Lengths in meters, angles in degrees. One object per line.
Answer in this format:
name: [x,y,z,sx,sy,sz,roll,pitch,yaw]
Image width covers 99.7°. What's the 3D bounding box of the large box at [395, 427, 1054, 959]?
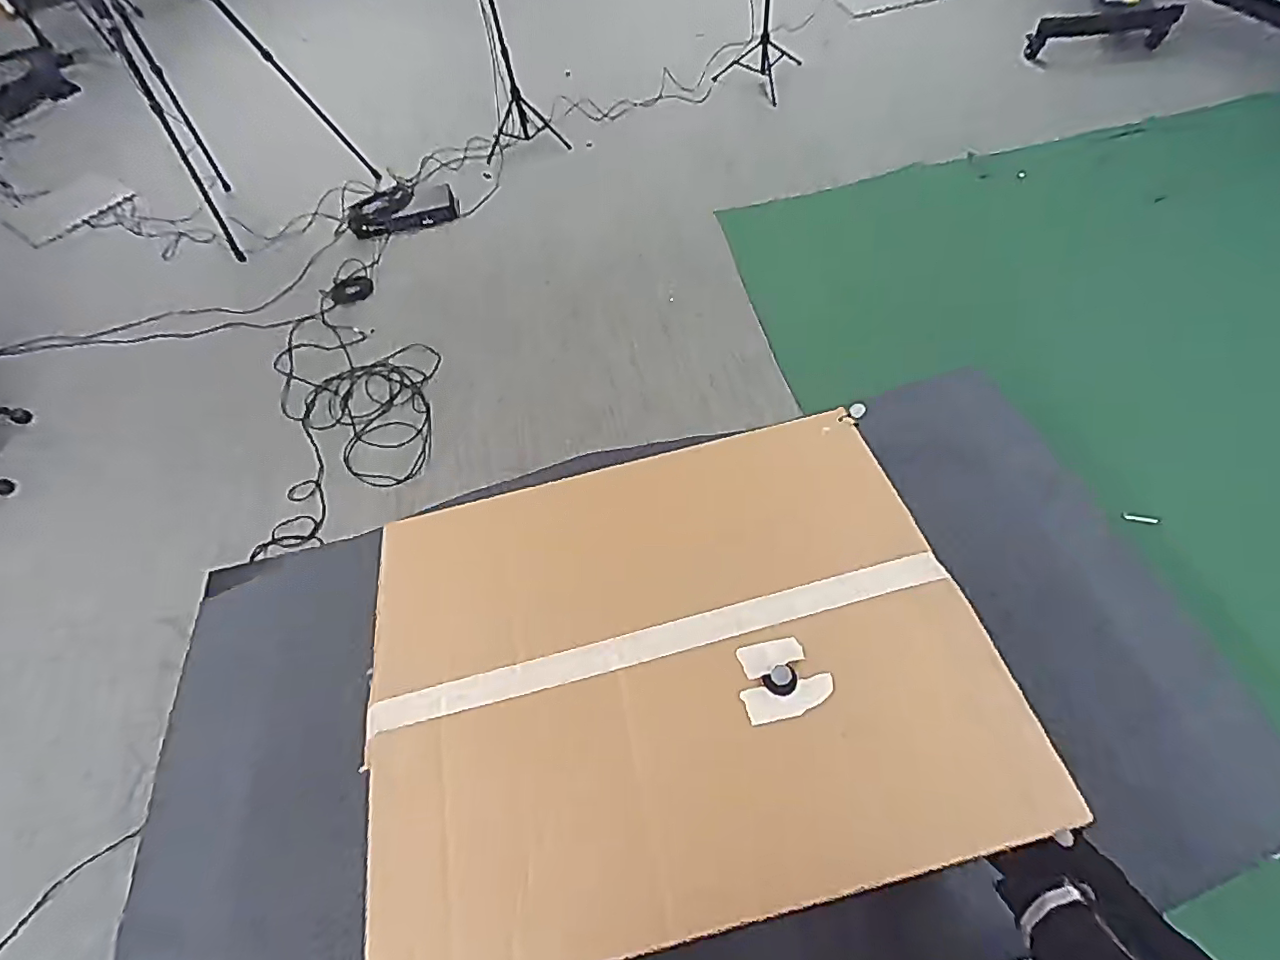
large box: [0.035,0.205,0.513,0.408,0.320,0.320,-14,56,-2]
